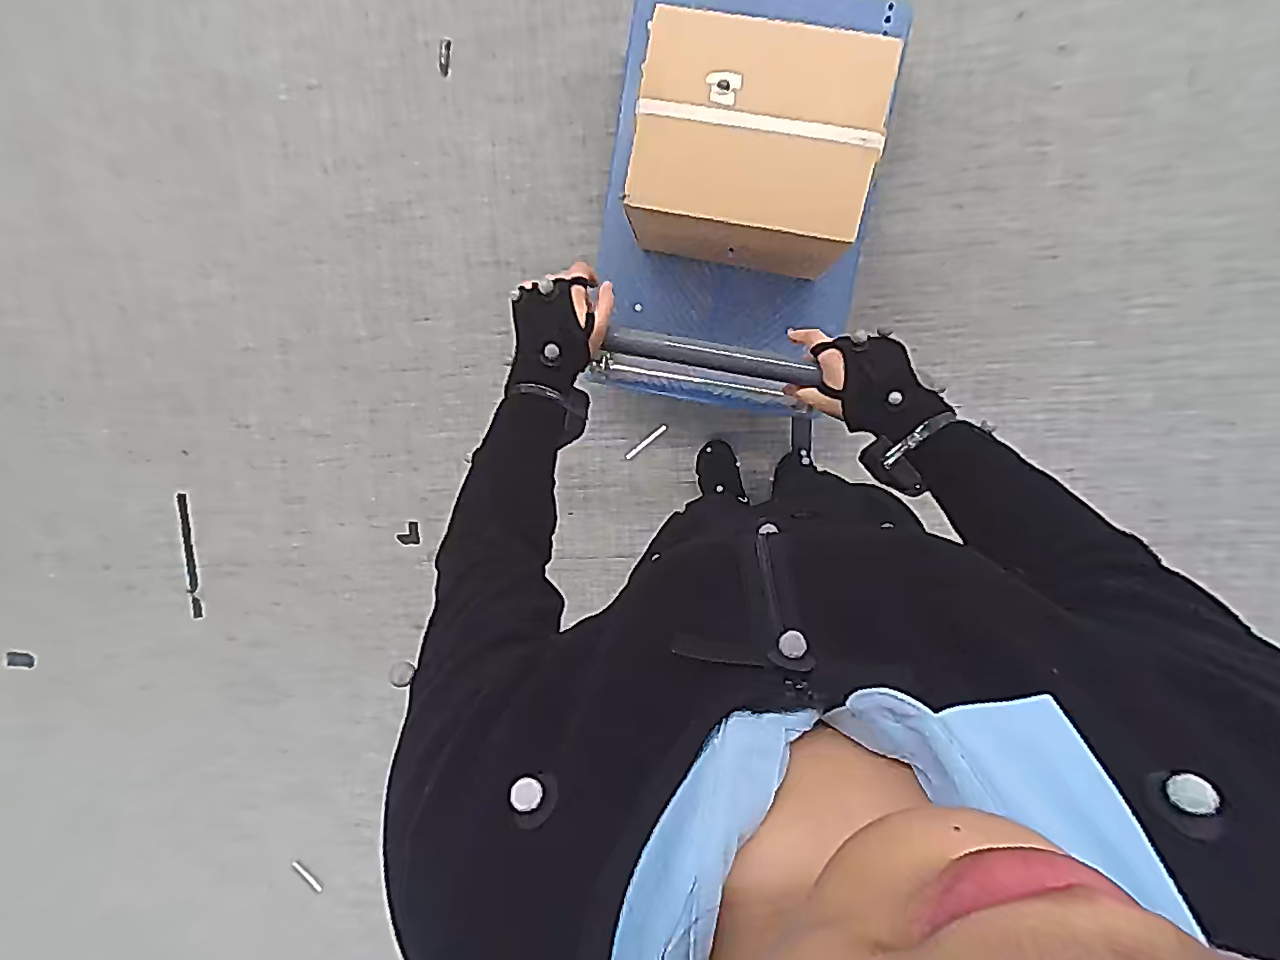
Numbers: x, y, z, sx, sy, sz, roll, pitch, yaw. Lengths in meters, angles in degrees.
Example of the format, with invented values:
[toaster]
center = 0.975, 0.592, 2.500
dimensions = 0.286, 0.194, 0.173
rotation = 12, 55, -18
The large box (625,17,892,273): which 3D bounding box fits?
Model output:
[large box]
center = 0.211, -0.621, 1.064
dimensions = 0.408, 0.320, 0.320
rotation = 12, 99, 5
